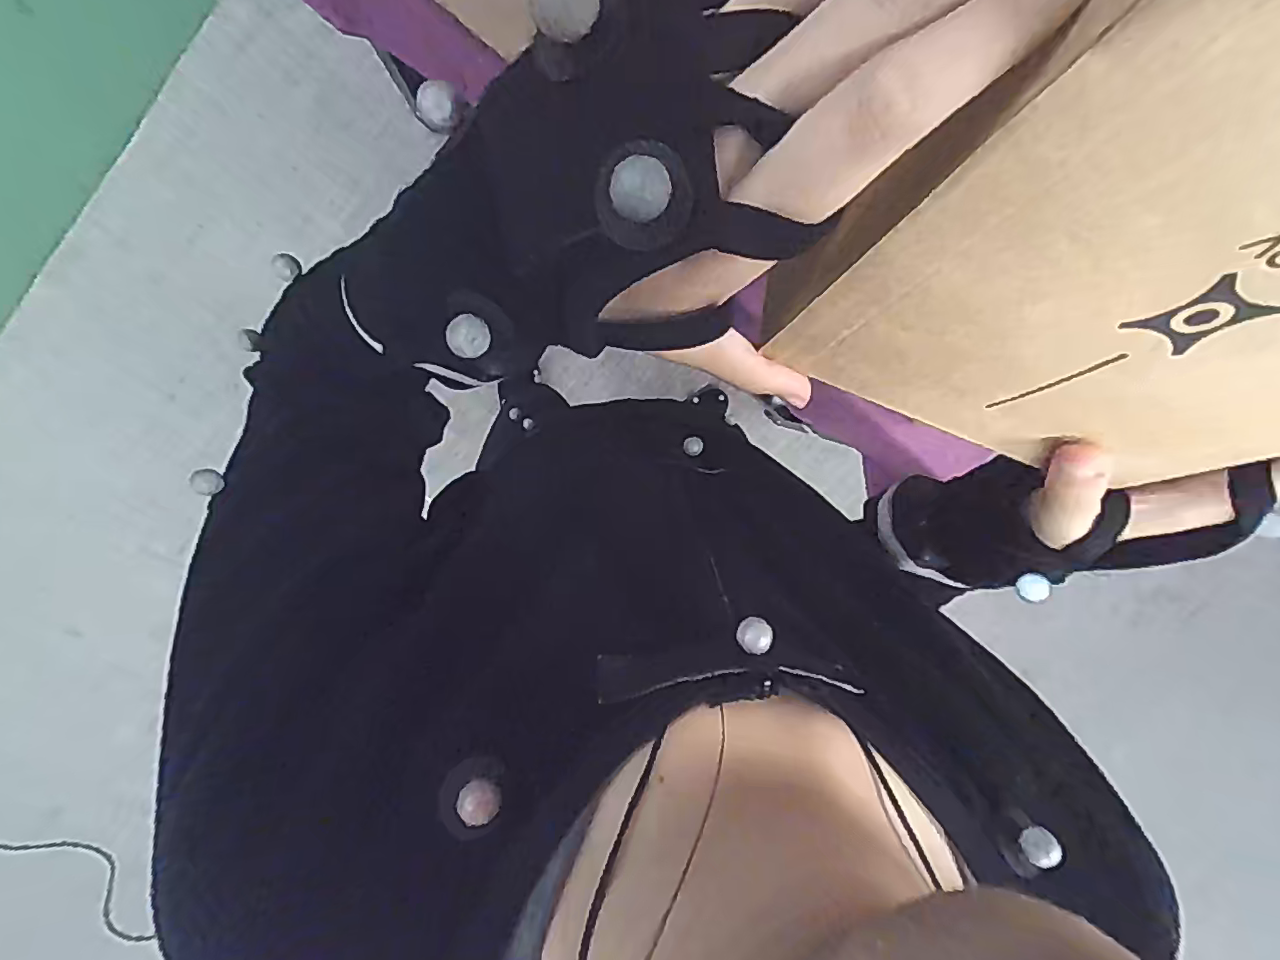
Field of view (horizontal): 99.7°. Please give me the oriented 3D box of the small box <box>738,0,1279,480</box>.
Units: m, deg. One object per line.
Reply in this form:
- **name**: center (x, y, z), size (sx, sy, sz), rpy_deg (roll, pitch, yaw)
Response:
- **small box**: center (0.149, -0.121, 0.158), size (0.168, 0.179, 0.176), rpy_deg (18, 69, -14)
